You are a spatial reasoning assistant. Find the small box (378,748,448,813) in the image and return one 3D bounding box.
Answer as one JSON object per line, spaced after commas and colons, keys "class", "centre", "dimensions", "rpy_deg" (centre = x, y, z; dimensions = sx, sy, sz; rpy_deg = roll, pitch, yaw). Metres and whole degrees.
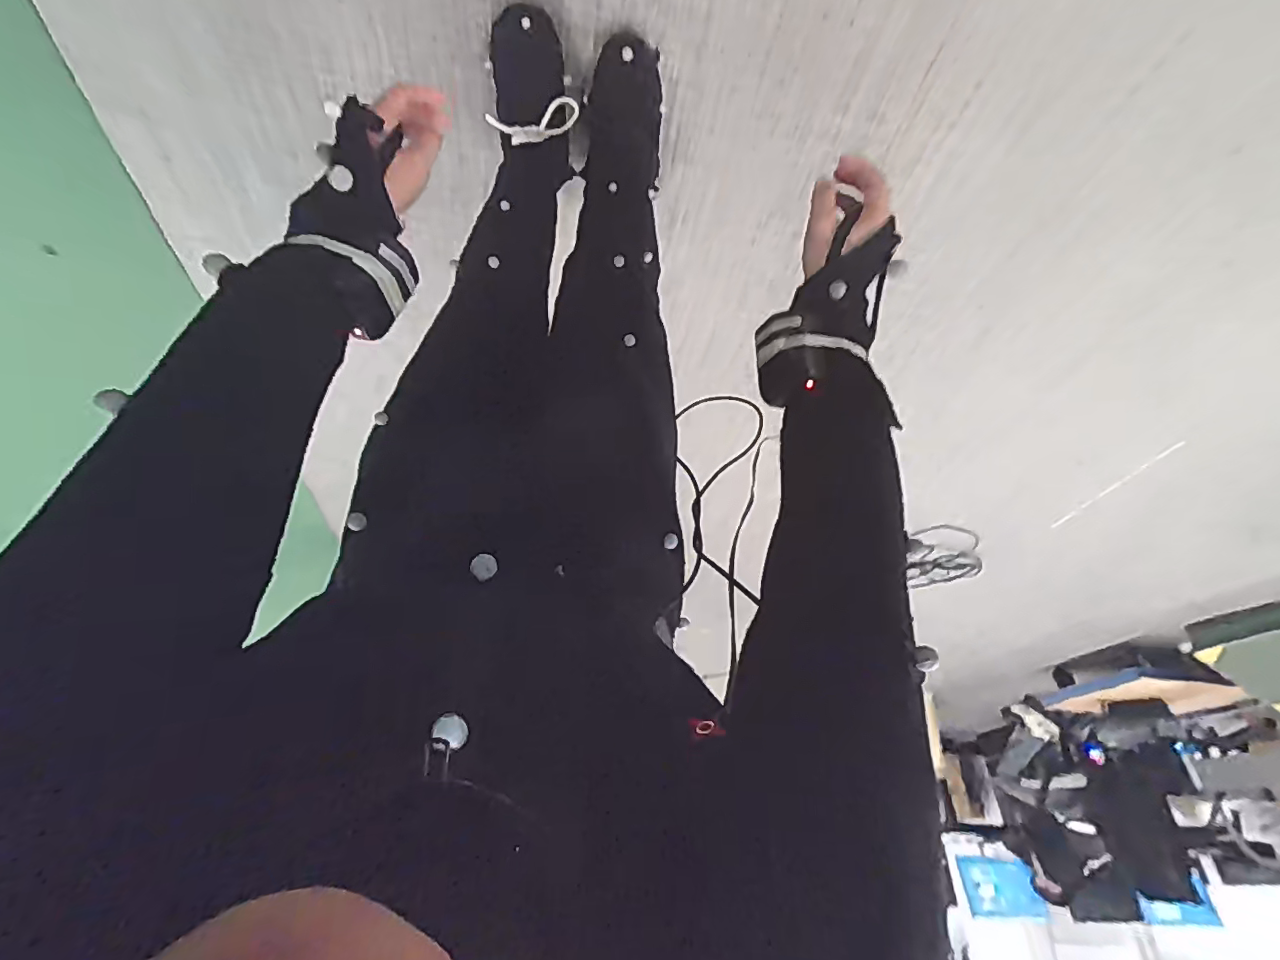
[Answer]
{"class": "small box", "centre": [-0.740, 0.988, 1.778], "dimensions": [0.168, 0.176, 0.179], "rpy_deg": [8, 144, -8]}
